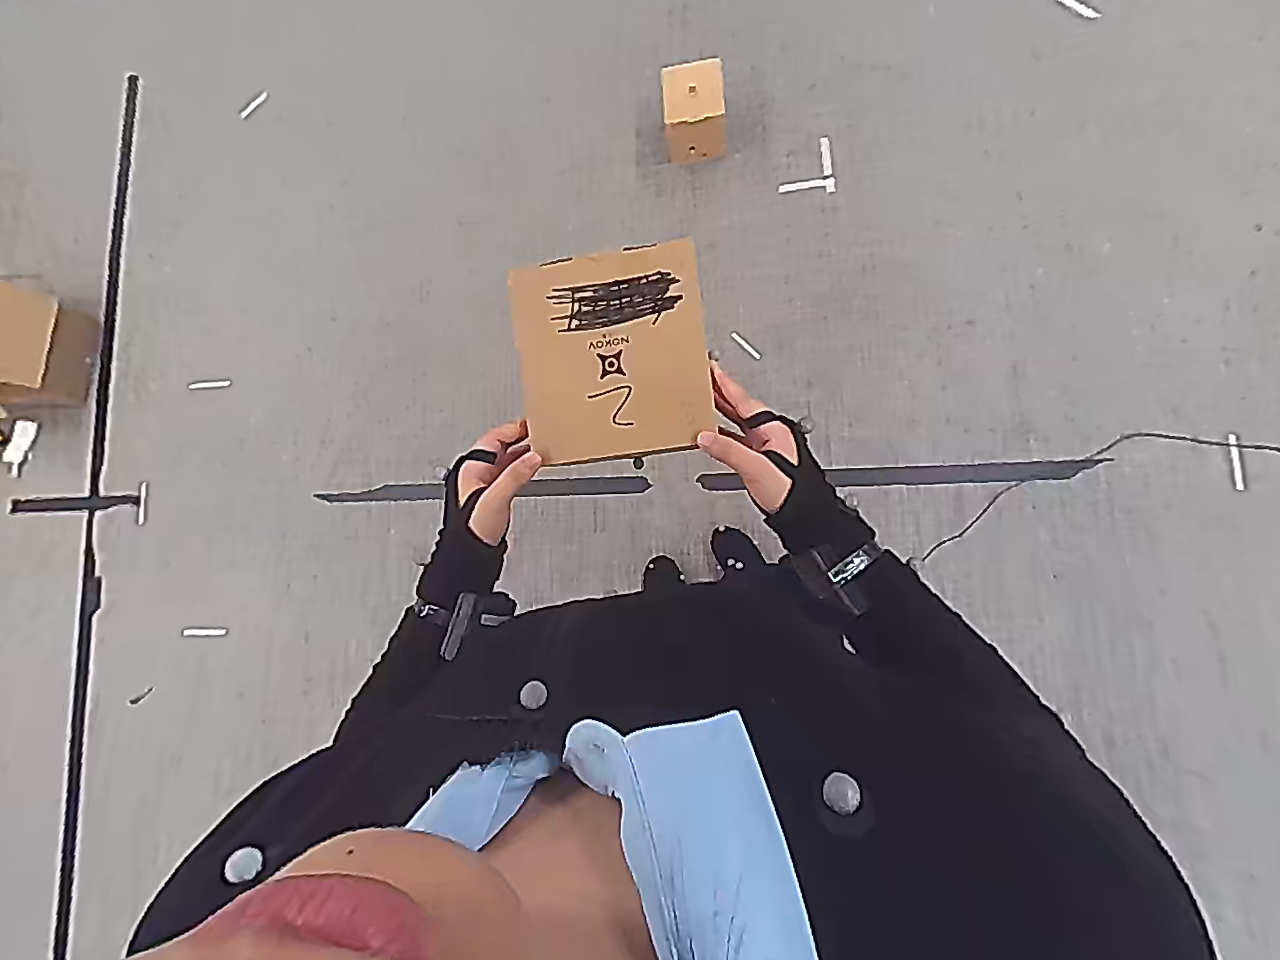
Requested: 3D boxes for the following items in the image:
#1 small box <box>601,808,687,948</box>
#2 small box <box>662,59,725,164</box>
[{"bbox_3d":[0.015,0.837,1.152,0.168,0.176,0.179,0,83,7],"label":"small box"},{"bbox_3d":[0.154,-1.057,1.560,0.168,0.176,0.179,-5,83,8],"label":"small box"}]
